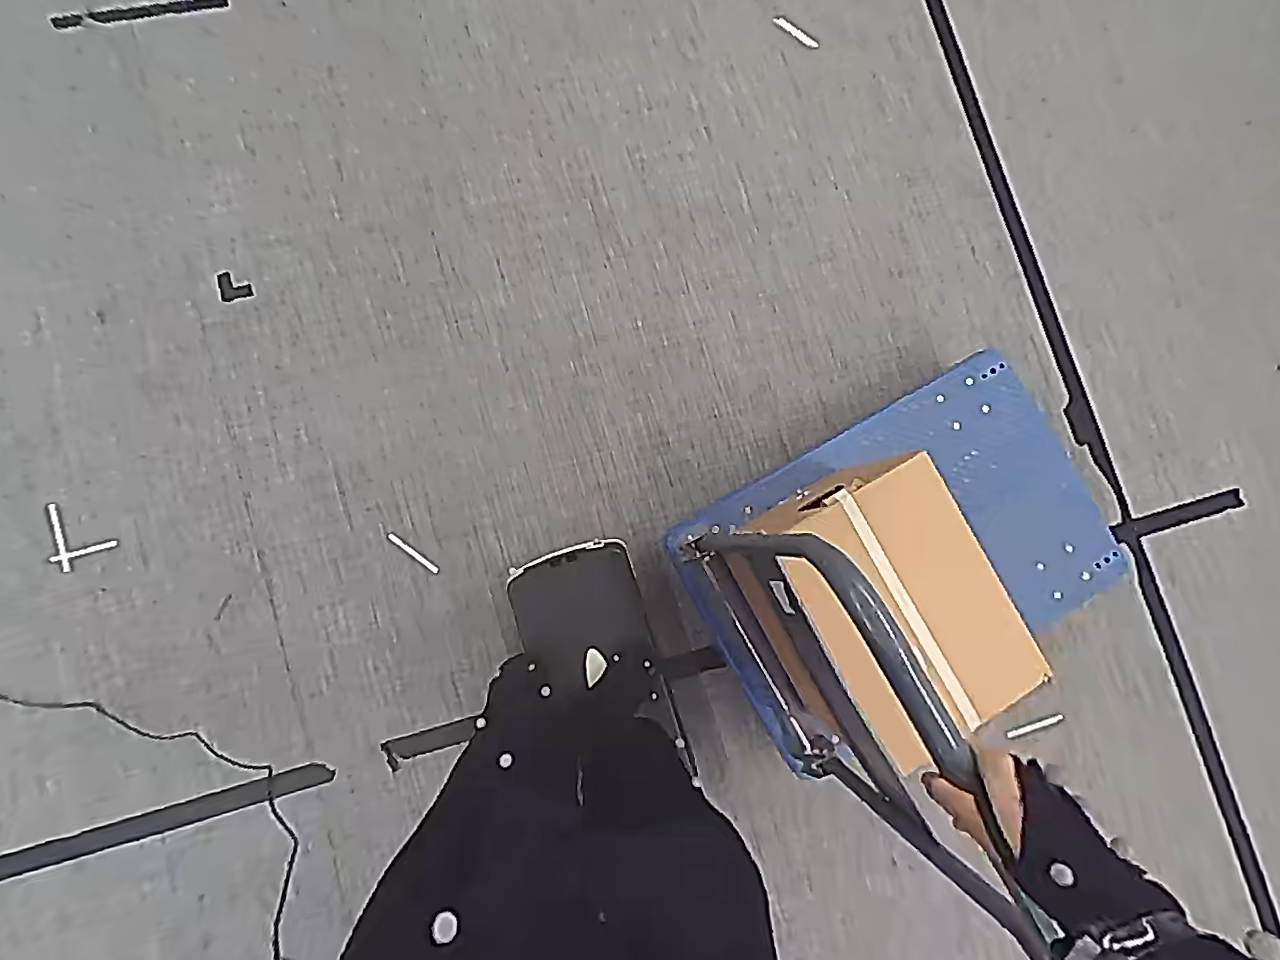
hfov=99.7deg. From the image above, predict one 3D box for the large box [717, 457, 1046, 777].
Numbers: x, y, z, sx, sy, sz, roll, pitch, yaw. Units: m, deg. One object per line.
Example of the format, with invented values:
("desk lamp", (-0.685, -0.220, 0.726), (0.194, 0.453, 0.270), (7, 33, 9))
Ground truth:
("large box", (0.396, 0.217, 0.982), (0.320, 0.320, 0.408), (-29, 89, -7))
